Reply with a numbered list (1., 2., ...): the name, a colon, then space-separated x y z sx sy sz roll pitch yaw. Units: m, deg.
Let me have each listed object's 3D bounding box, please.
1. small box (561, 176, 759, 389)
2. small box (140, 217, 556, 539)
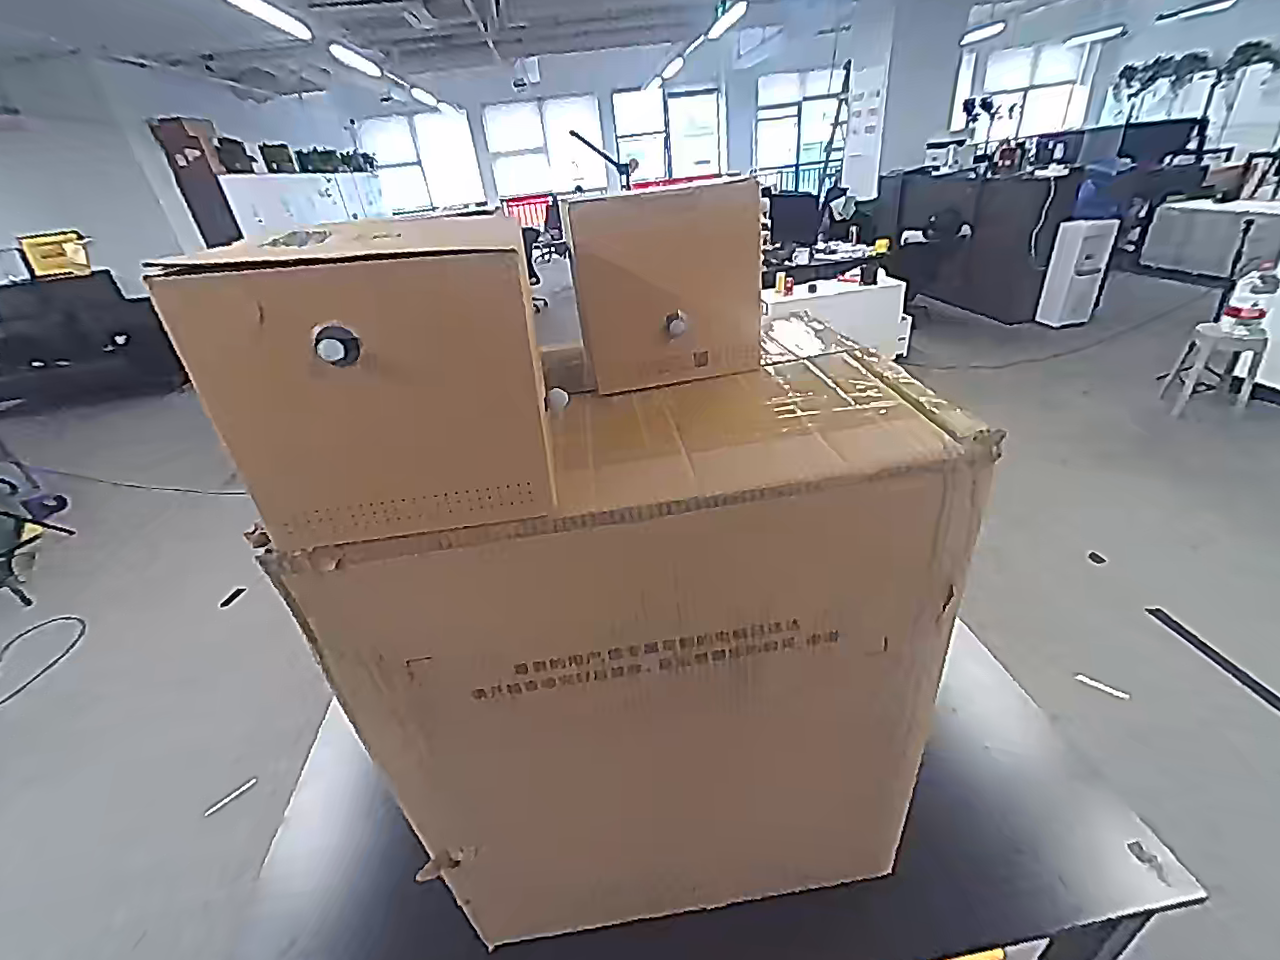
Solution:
1. small box: 0.015 -0.204 0.555 0.168 0.176 0.179 -11 29 -5
2. small box: -0.158 -0.076 0.368 0.179 0.176 0.168 -7 31 -7
